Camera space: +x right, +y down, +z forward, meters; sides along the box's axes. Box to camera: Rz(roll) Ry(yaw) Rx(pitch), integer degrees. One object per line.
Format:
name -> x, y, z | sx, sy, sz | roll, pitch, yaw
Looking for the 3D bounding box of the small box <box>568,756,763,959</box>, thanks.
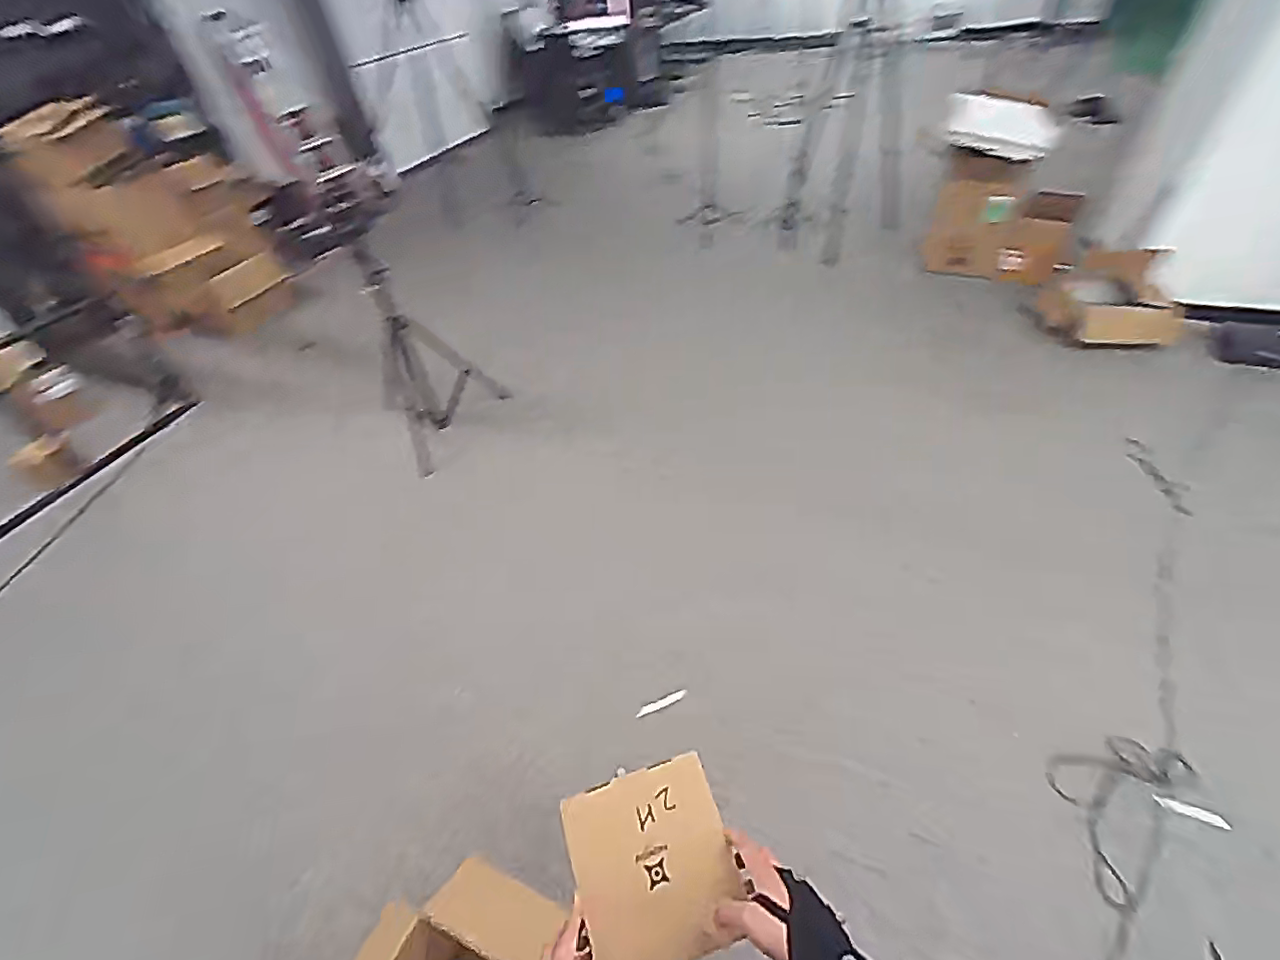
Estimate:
small box -> 0.018, 0.445, 0.631 | 0.168, 0.176, 0.179 | -12, 60, -13
